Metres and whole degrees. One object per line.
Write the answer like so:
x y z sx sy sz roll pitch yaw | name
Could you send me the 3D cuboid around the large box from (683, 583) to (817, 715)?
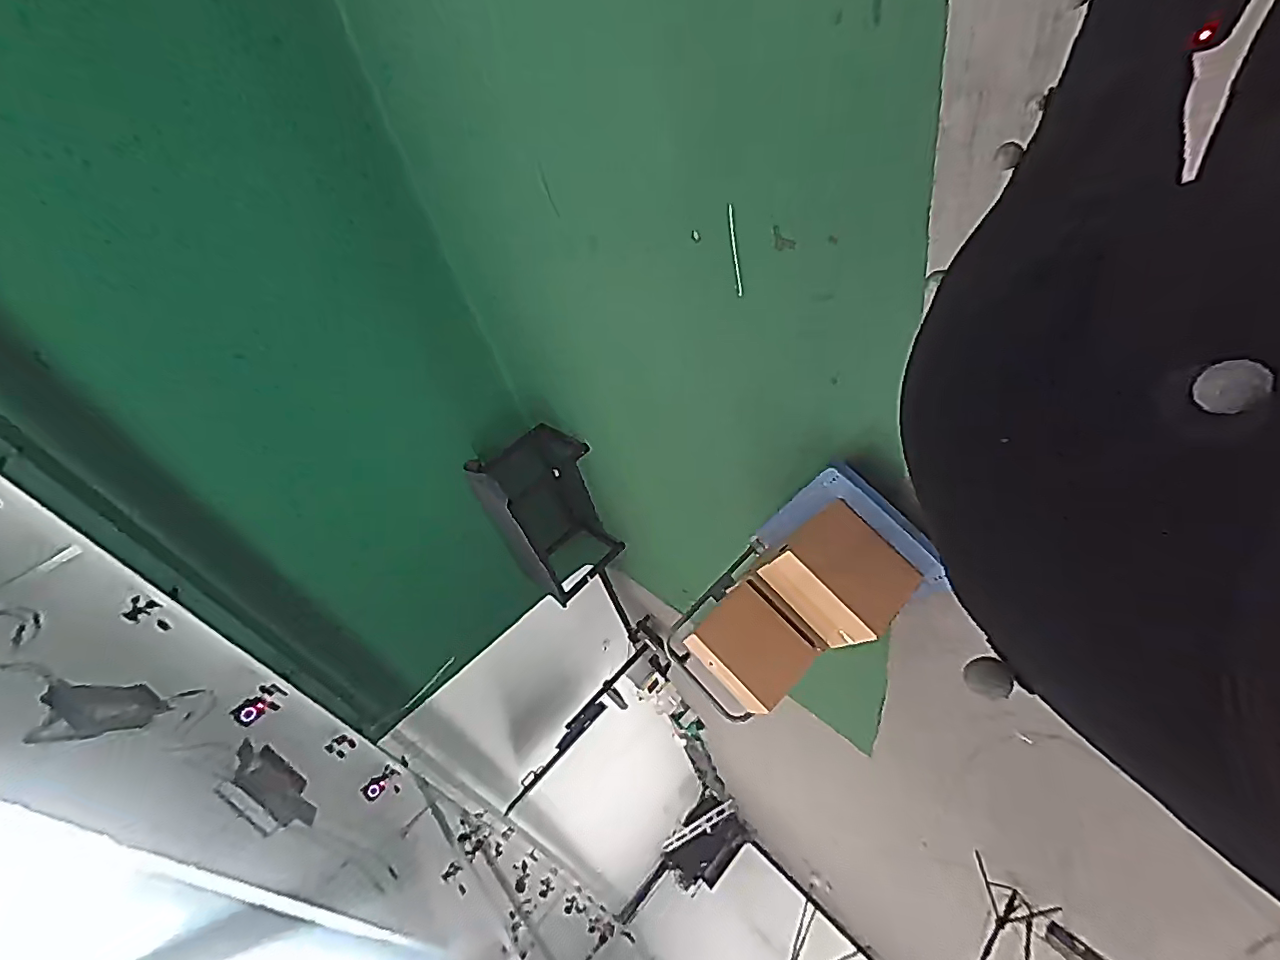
0.440 0.696 2.225 0.408 0.320 0.320 46 161 13 | large box
